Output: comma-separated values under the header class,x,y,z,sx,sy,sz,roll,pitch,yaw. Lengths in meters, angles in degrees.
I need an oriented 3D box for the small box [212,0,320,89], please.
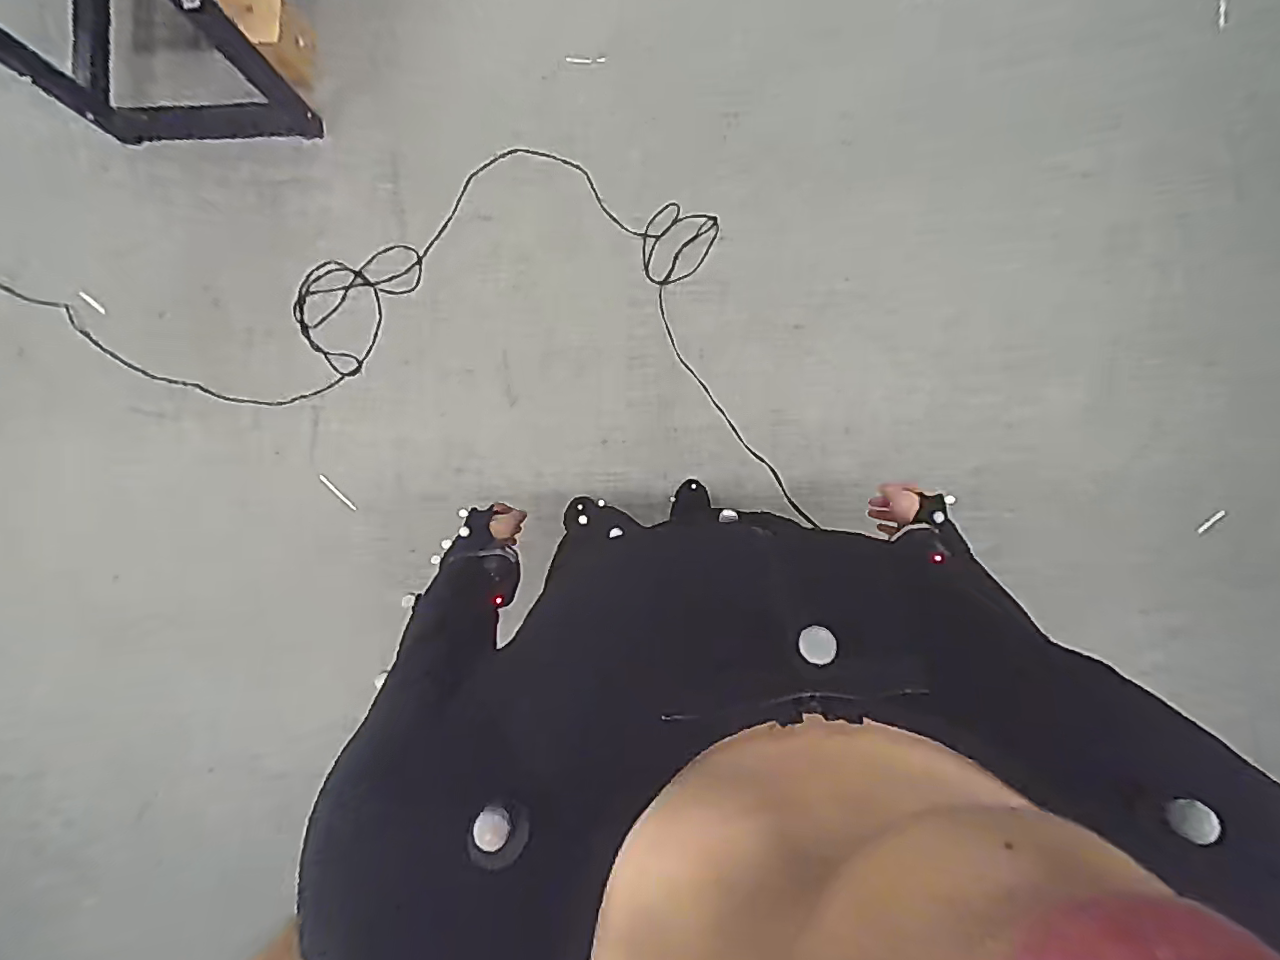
class,x,y,z,sx,sy,sz,roll,pitch,yaw
small box,-0.988,-1.185,1.443,0.179,0.176,0.168,4,90,1
